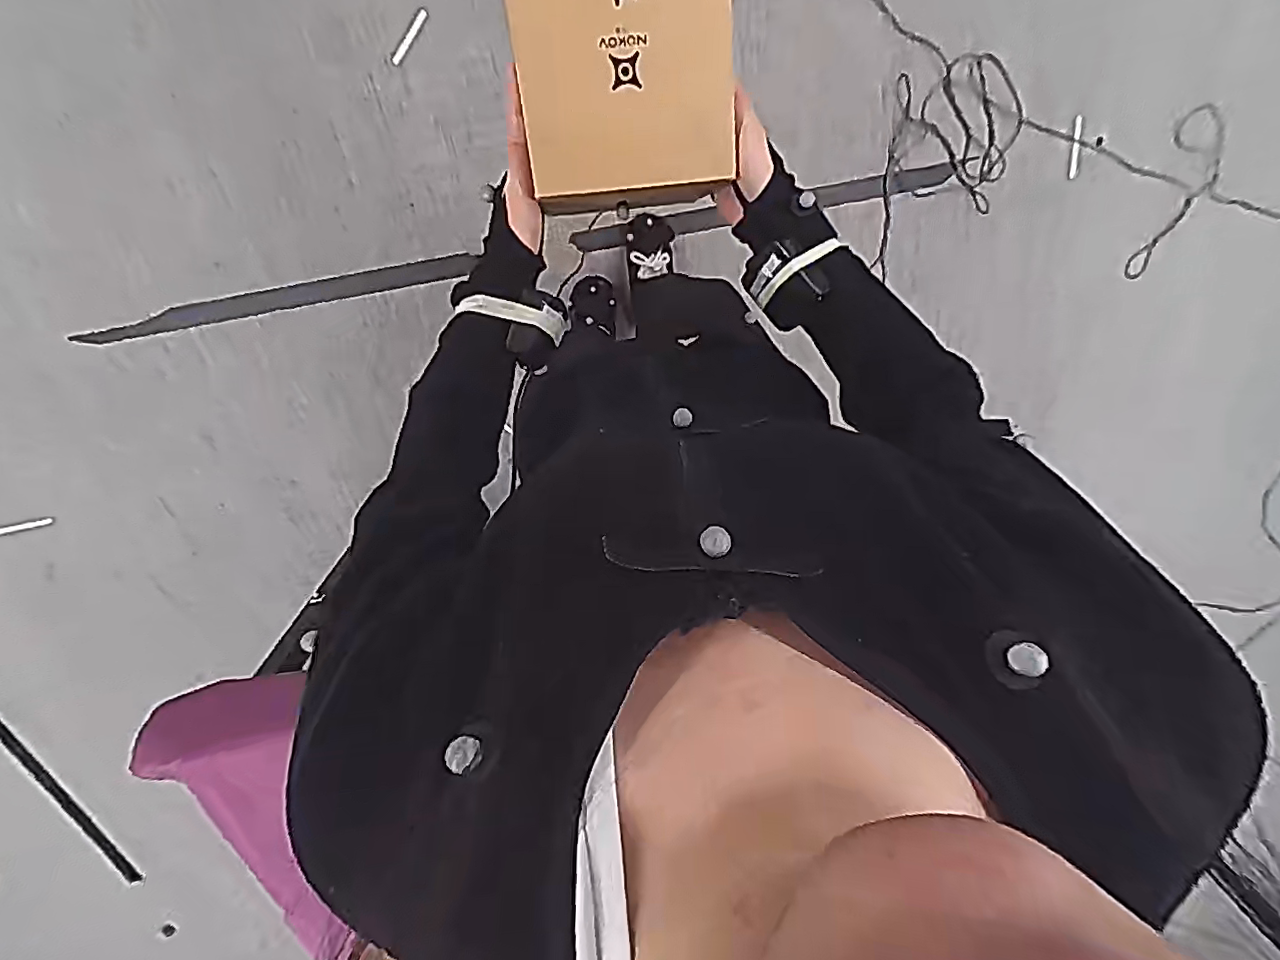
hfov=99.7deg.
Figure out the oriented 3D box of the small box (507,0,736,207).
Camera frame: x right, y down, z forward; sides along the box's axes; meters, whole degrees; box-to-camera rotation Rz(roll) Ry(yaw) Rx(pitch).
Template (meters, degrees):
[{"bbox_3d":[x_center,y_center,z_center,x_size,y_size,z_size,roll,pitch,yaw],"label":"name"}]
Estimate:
[{"bbox_3d":[-0.019,-0.346,0.474,0.168,0.176,0.179,-8,112,-4],"label":"small box"}]
